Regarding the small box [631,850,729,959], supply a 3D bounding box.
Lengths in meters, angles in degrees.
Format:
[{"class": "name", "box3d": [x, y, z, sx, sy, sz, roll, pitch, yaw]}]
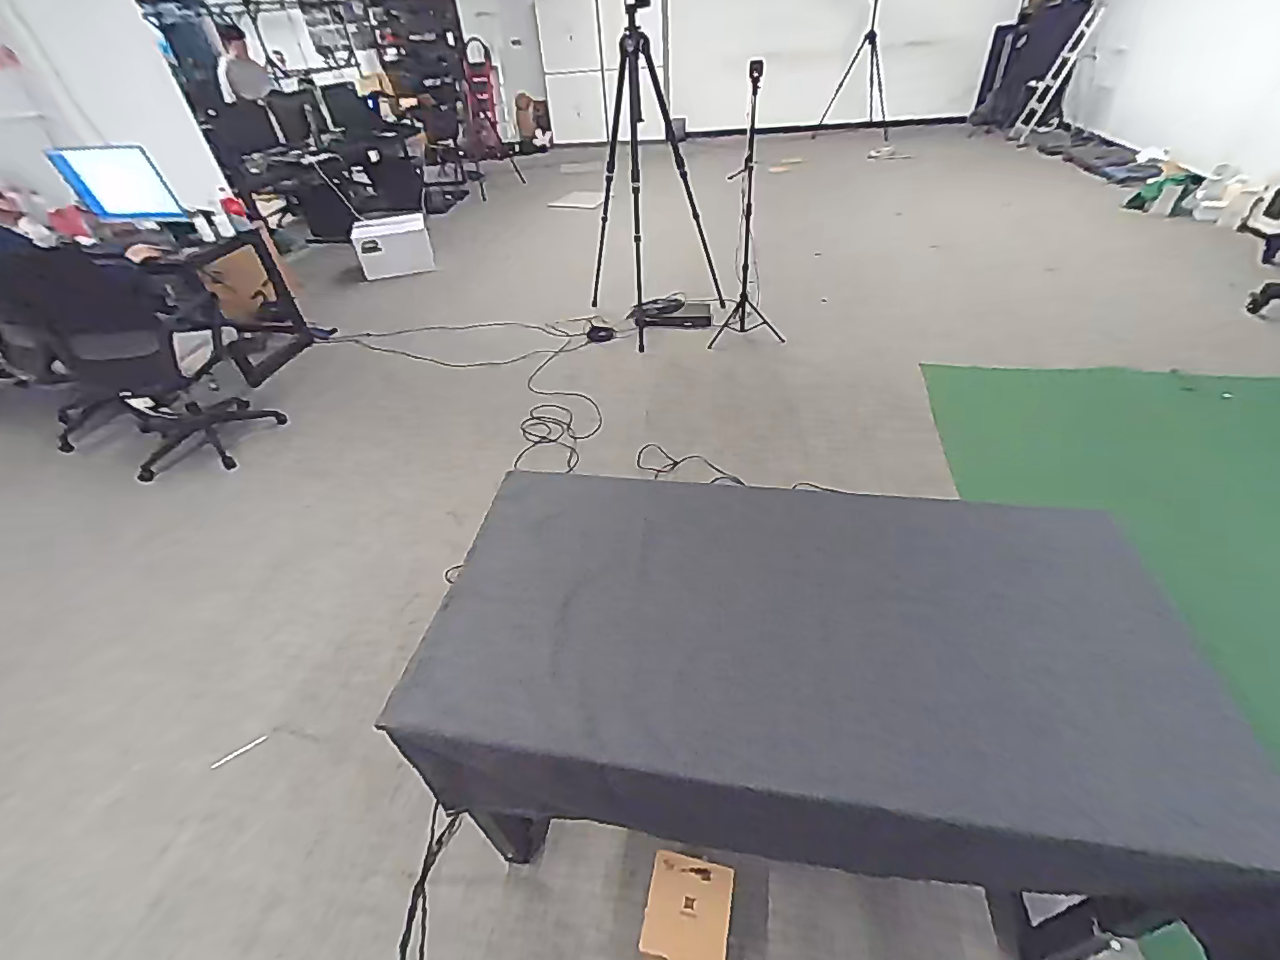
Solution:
[{"class": "small box", "box3d": [0.089, 0.906, 1.111, 0.168, 0.176, 0.179, 6, 42, 14]}]
